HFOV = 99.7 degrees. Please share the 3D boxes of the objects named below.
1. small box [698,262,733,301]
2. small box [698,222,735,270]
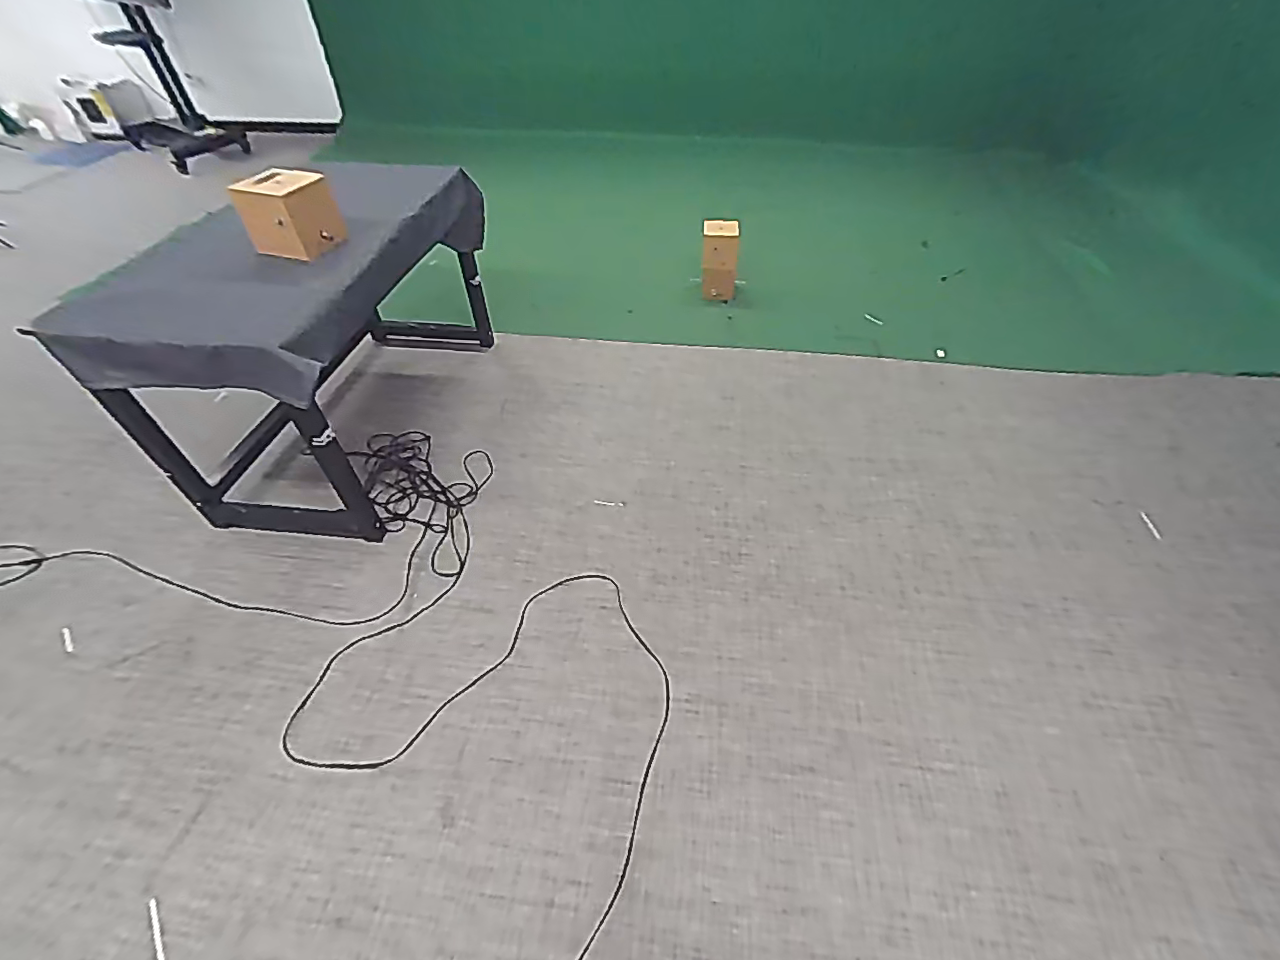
[{"bbox_3d":[0.387,-1.042,2.784,0.168,0.176,0.179,4,47,5],"label":"small box"},{"bbox_3d":[0.377,-1.152,2.664,0.168,0.176,0.179,3,46,4],"label":"small box"}]
